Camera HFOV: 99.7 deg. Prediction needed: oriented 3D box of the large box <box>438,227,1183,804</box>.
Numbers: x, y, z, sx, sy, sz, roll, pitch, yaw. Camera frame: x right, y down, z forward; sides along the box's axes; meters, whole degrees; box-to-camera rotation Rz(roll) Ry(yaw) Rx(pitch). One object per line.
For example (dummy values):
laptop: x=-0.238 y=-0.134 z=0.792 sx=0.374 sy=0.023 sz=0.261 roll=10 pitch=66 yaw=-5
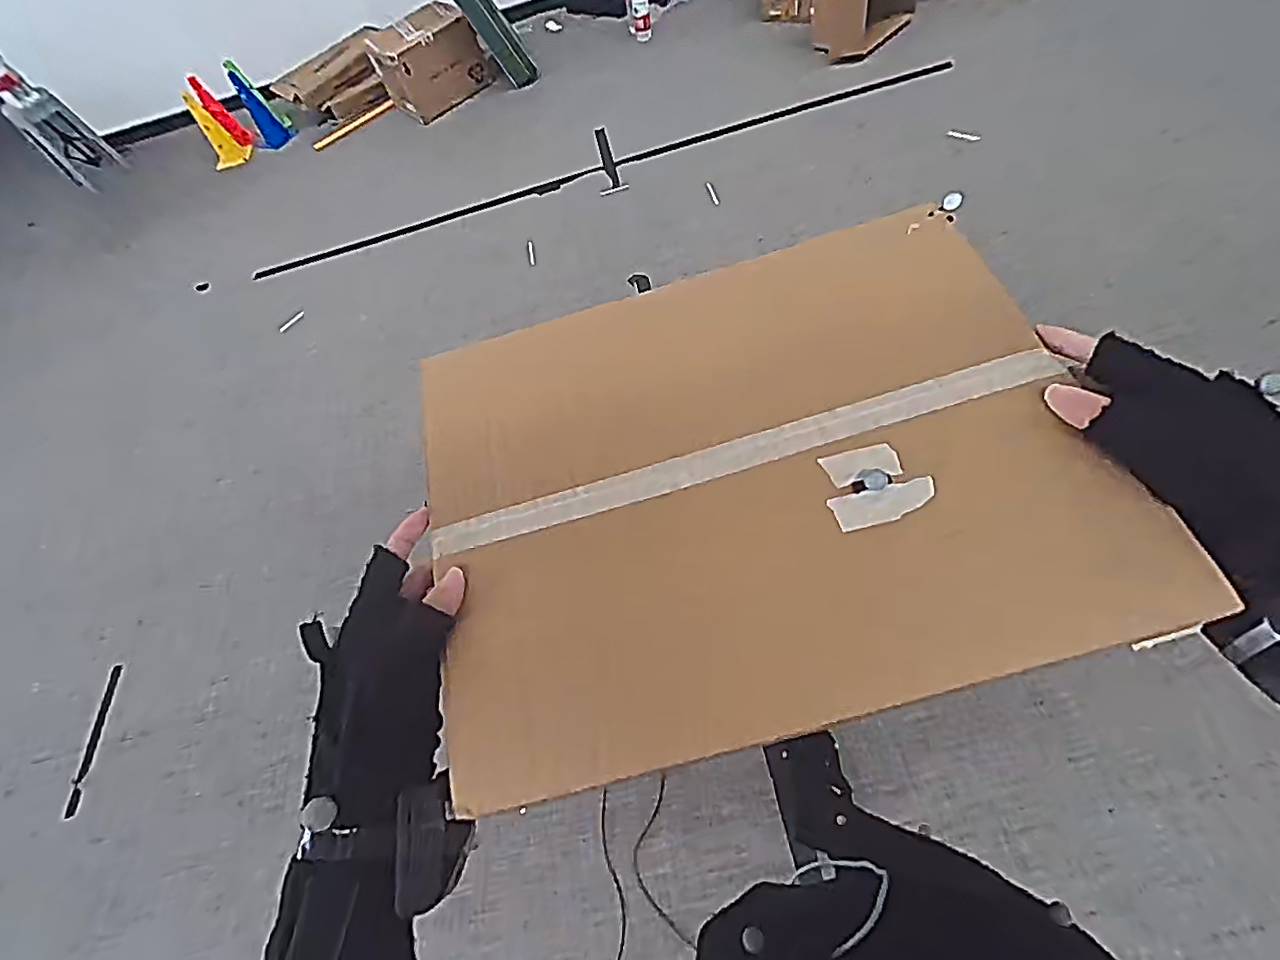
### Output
large box: x=0.086 y=0.054 z=0.489 sx=0.408 sy=0.320 sz=0.320 roll=-17 pitch=64 yaw=2
